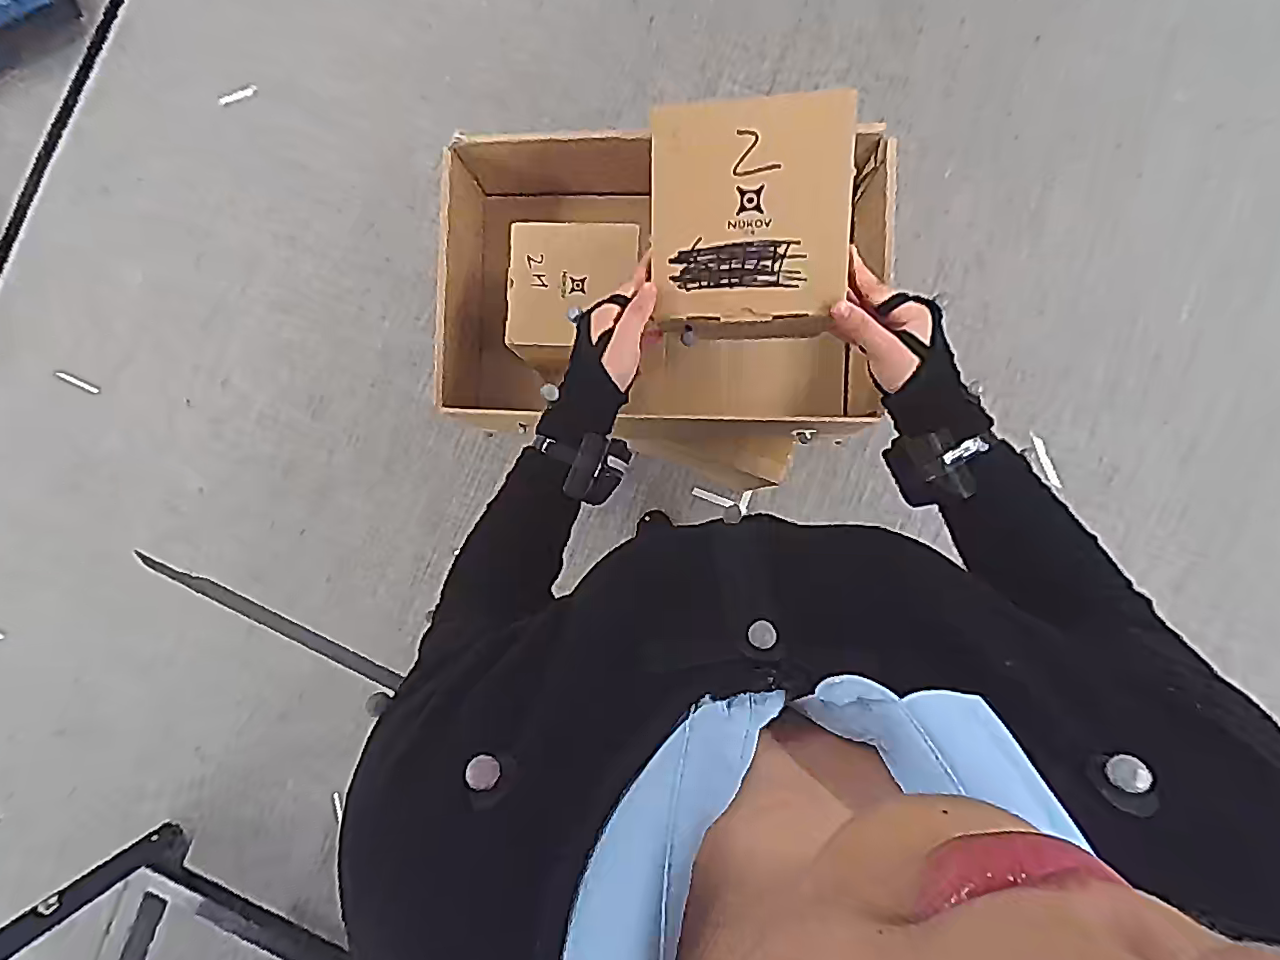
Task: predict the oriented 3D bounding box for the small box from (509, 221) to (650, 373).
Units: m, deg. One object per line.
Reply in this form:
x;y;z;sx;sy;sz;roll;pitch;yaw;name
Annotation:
-0.079;-0.258;0.795;0.179;0.176;0.168;3;89;5;small box
